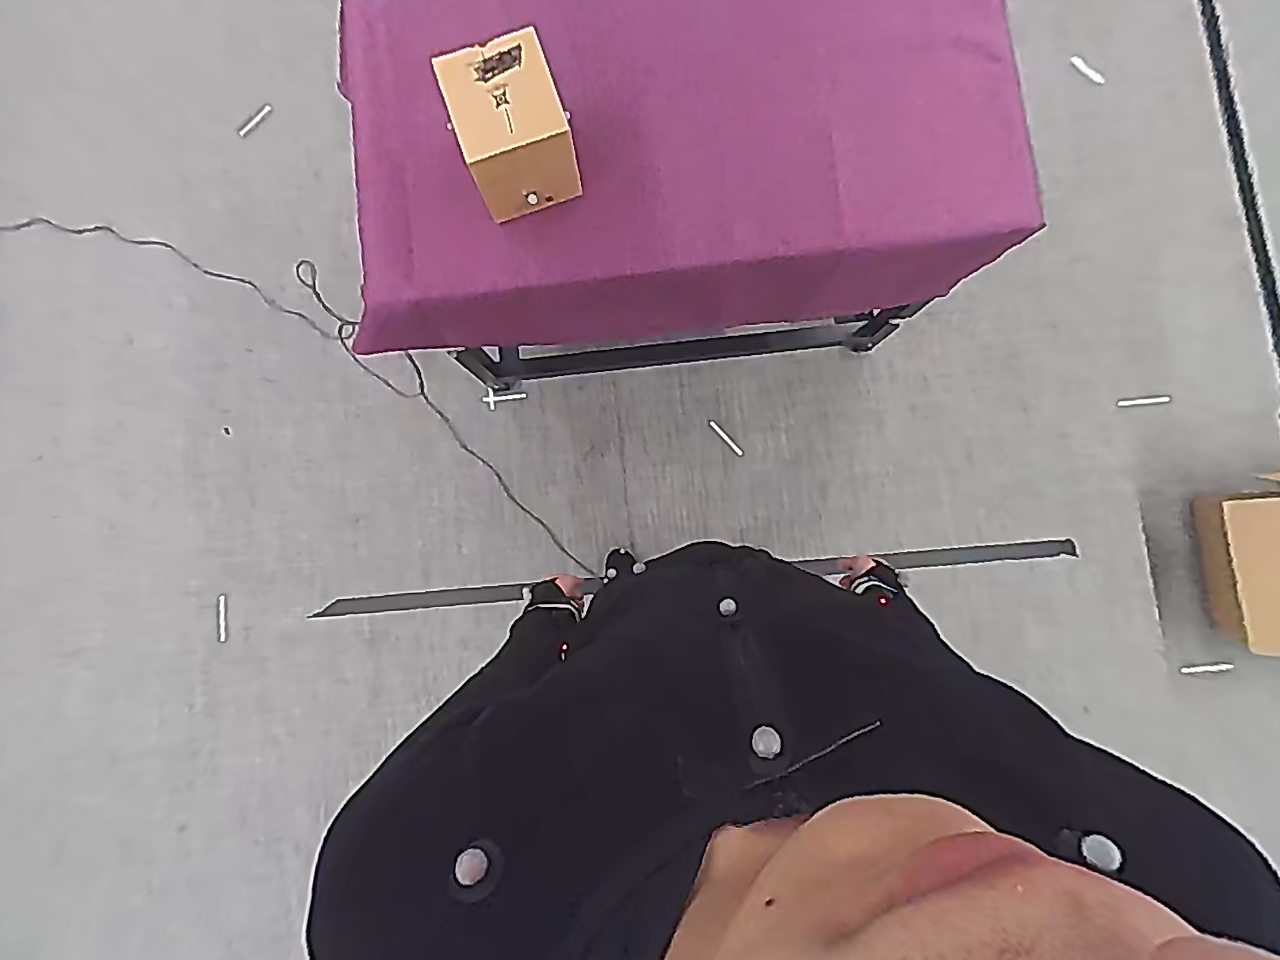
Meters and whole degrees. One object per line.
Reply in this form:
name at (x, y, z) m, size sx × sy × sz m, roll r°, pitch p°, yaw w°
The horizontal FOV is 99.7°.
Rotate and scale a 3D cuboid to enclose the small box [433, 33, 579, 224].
small box at (-0.209, -0.563, 0.887) m, size 0.168 × 0.176 × 0.179 m, roll -19°, pitch 86°, yaw 0°
